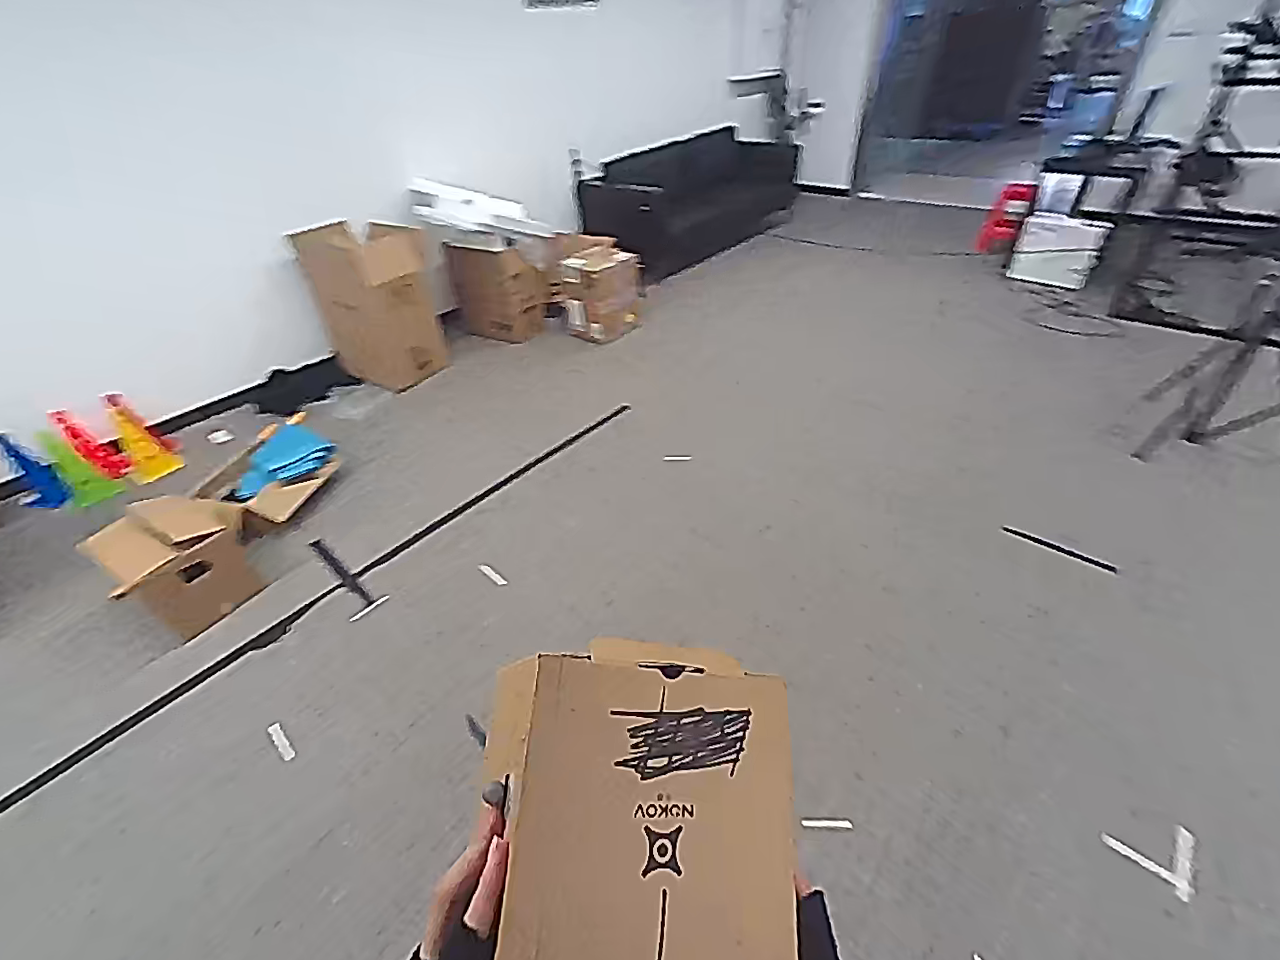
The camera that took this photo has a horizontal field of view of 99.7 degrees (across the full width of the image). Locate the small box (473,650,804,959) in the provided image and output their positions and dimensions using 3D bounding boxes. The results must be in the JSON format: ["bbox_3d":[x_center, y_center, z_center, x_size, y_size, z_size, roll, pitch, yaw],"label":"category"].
[{"bbox_3d":[-0.011,0.222,0.368,0.168,0.176,0.179,13,65,-18],"label":"small box"}]
